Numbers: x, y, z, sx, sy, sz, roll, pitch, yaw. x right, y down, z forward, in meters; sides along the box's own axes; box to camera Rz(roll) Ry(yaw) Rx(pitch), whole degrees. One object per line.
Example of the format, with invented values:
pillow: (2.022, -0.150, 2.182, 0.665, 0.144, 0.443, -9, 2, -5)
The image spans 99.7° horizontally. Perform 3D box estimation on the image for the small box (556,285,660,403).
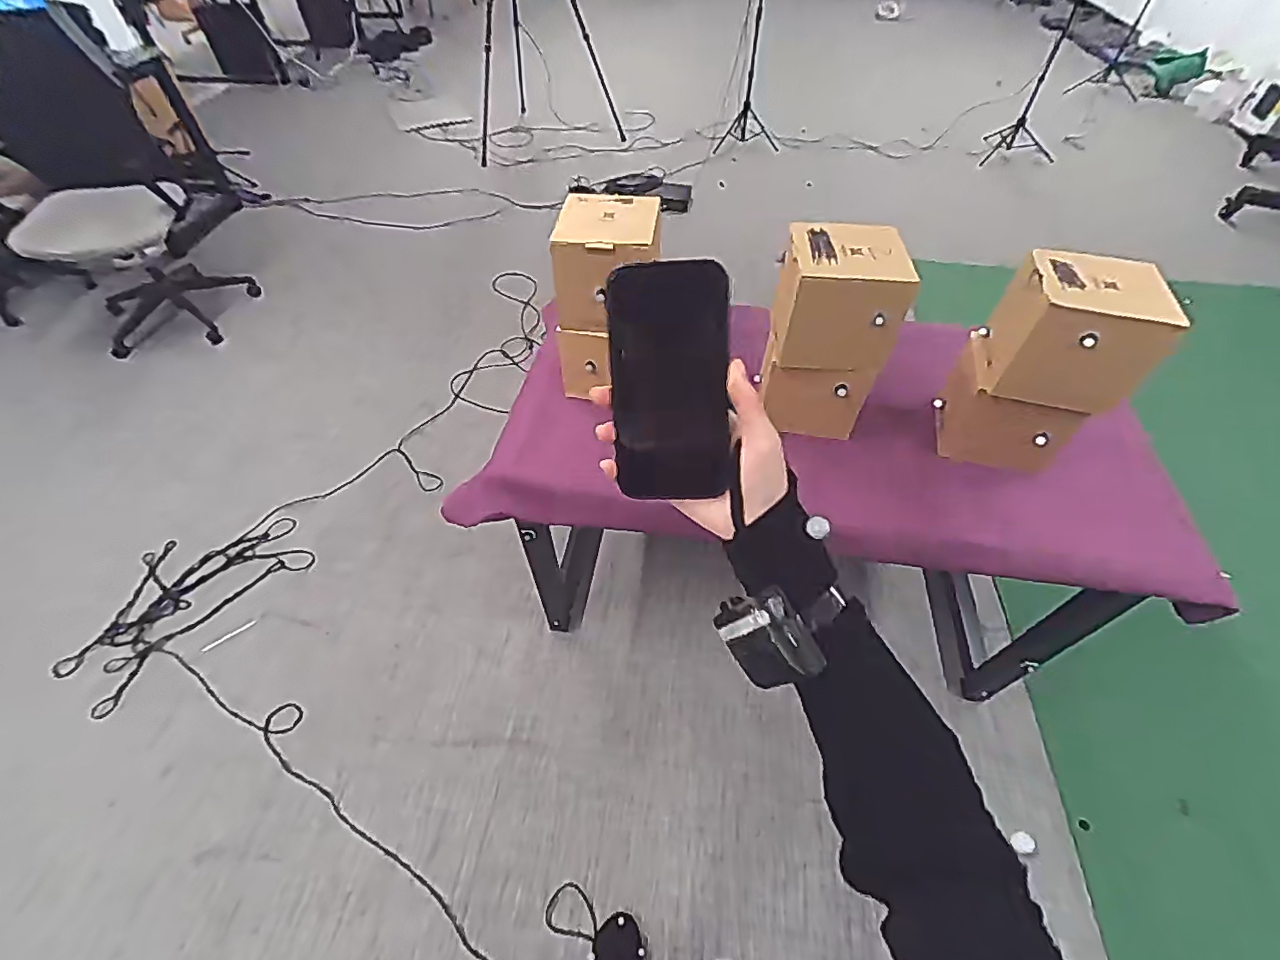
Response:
small box: (-0.054, -0.276, 1.080, 0.168, 0.176, 0.179, 8, 51, 8)

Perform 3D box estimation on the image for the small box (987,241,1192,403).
small box: (0.661, -0.239, 0.829, 0.179, 0.176, 0.168, 13, 52, 10)

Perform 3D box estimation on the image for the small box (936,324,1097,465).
small box: (0.657, -0.149, 0.967, 0.179, 0.176, 0.168, 13, 52, 11)

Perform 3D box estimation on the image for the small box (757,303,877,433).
small box: (0.325, -0.207, 1.017, 0.179, 0.176, 0.168, 8, 51, 7)

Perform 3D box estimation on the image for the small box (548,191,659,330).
small box: (-0.055, -0.386, 0.958, 0.168, 0.176, 0.179, 5, 52, 4)
